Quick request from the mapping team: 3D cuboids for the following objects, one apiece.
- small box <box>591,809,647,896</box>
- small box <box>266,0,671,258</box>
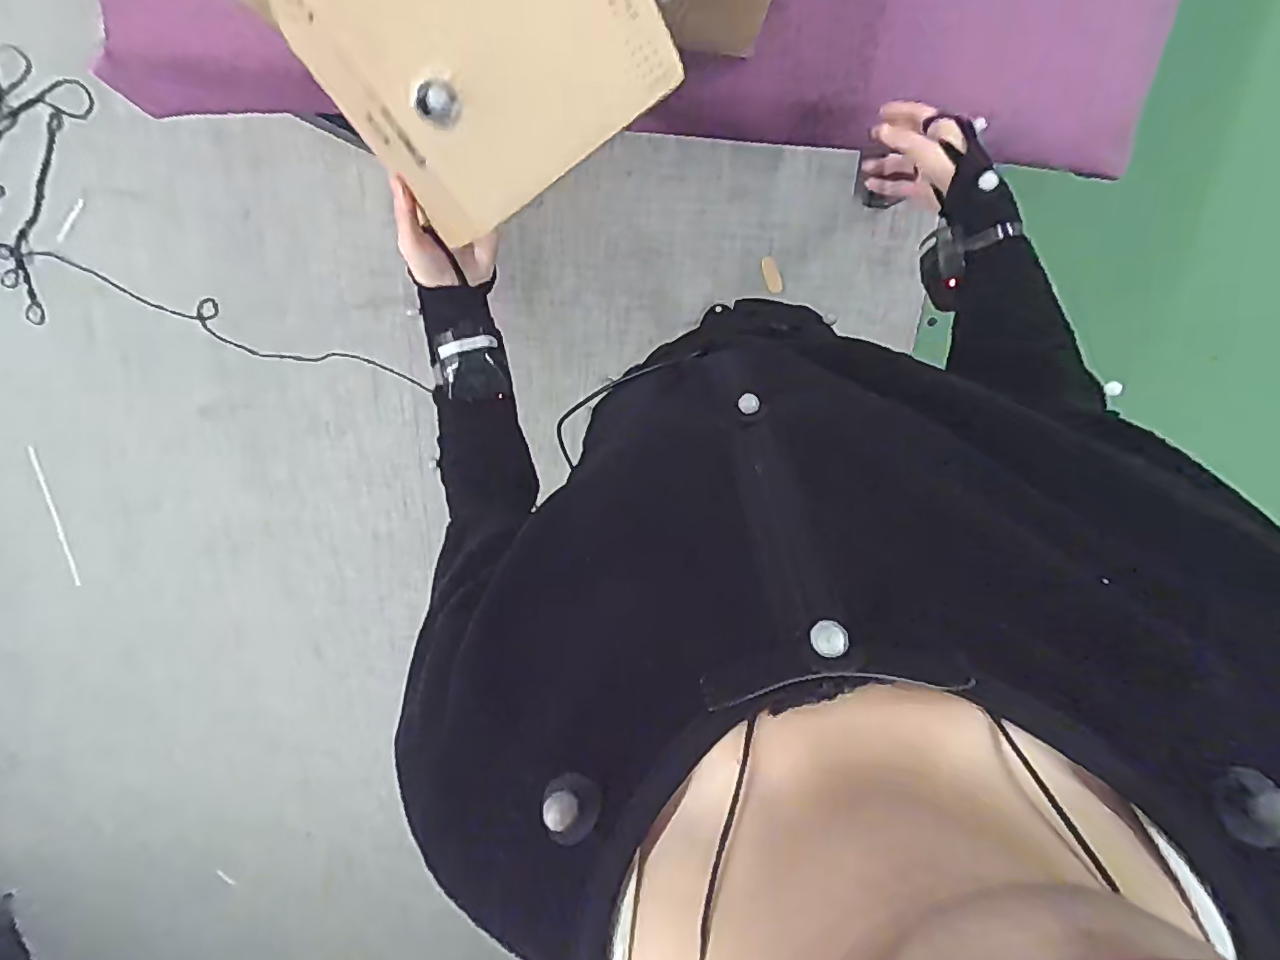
[{"bbox_3d":[-0.068,1.263,1.842,0.168,0.176,0.179,9,108,1],"label":"small box"},{"bbox_3d":[-0.108,-0.271,0.360,0.176,0.179,0.168,-42,122,-6],"label":"small box"}]
